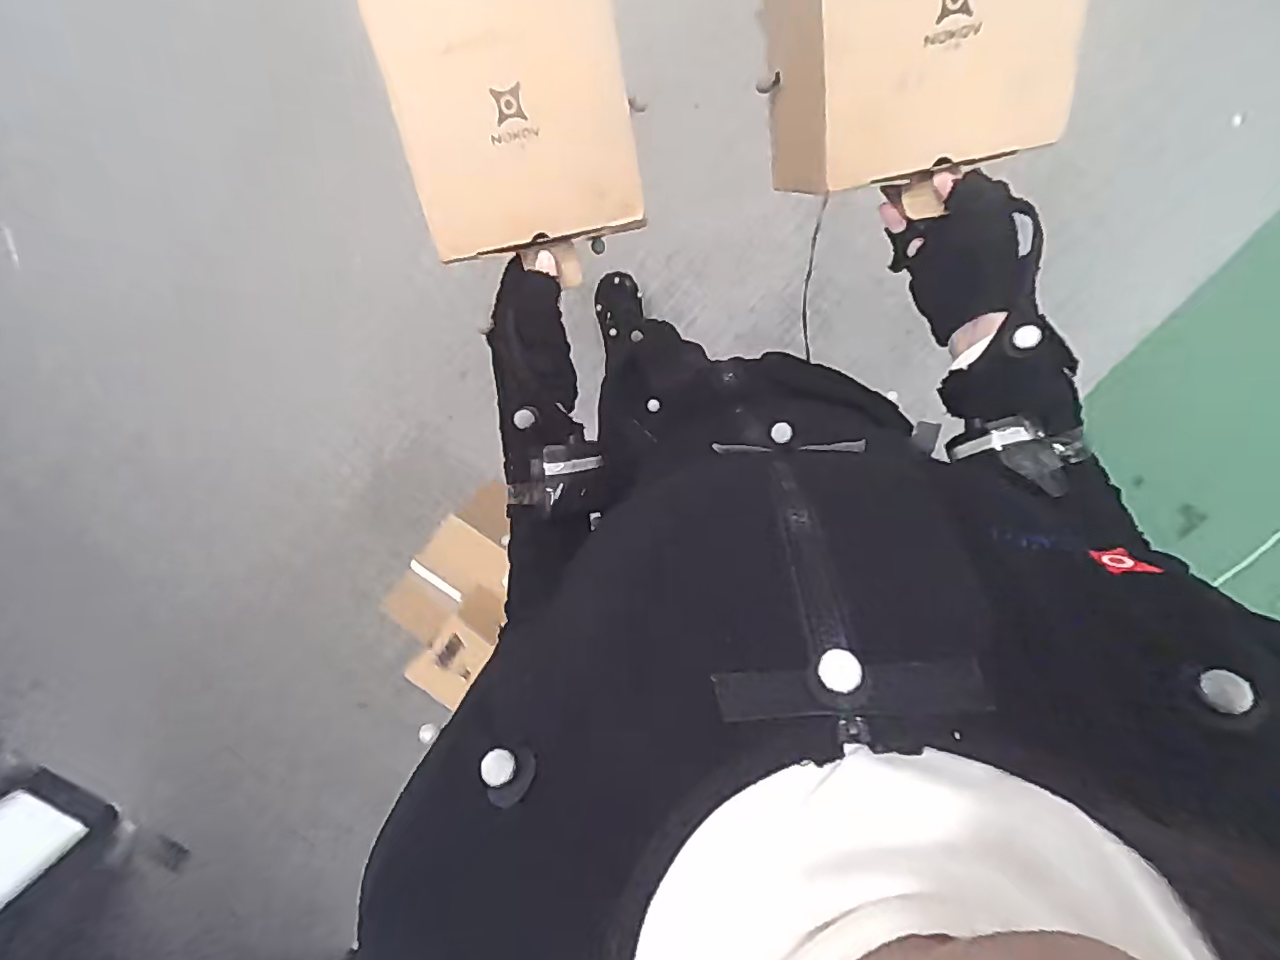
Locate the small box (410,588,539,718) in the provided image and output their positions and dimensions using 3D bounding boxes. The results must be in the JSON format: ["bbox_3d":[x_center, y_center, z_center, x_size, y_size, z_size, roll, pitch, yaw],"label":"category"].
[{"bbox_3d":[-0.340,0.353,1.146,0.179,0.176,0.168,44,98,-9],"label":"small box"}]

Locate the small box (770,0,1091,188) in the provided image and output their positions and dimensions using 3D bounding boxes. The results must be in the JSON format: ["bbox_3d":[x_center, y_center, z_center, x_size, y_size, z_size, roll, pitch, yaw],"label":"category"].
[{"bbox_3d":[0.203,-0.340,0.416,0.168,0.176,0.179,-10,120,3],"label":"small box"}]
